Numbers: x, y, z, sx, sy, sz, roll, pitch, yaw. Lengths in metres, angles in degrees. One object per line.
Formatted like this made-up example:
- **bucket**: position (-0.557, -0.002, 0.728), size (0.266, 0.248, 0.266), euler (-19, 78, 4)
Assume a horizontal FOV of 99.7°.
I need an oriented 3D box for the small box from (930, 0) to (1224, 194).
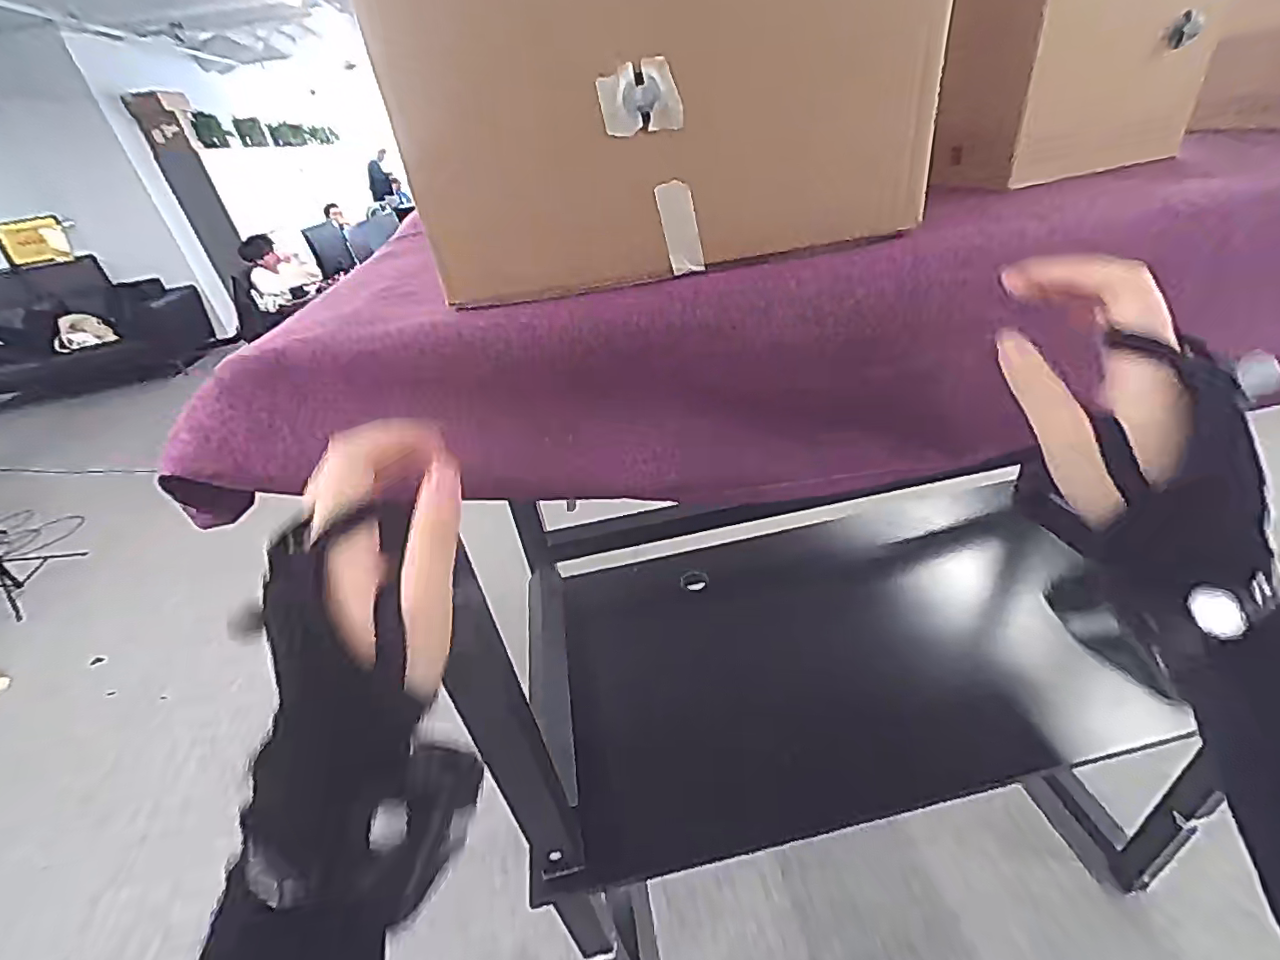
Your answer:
- **small box**: position (0.342, -0.361, 0.470), size (0.179, 0.176, 0.168), euler (-16, 33, -9)
